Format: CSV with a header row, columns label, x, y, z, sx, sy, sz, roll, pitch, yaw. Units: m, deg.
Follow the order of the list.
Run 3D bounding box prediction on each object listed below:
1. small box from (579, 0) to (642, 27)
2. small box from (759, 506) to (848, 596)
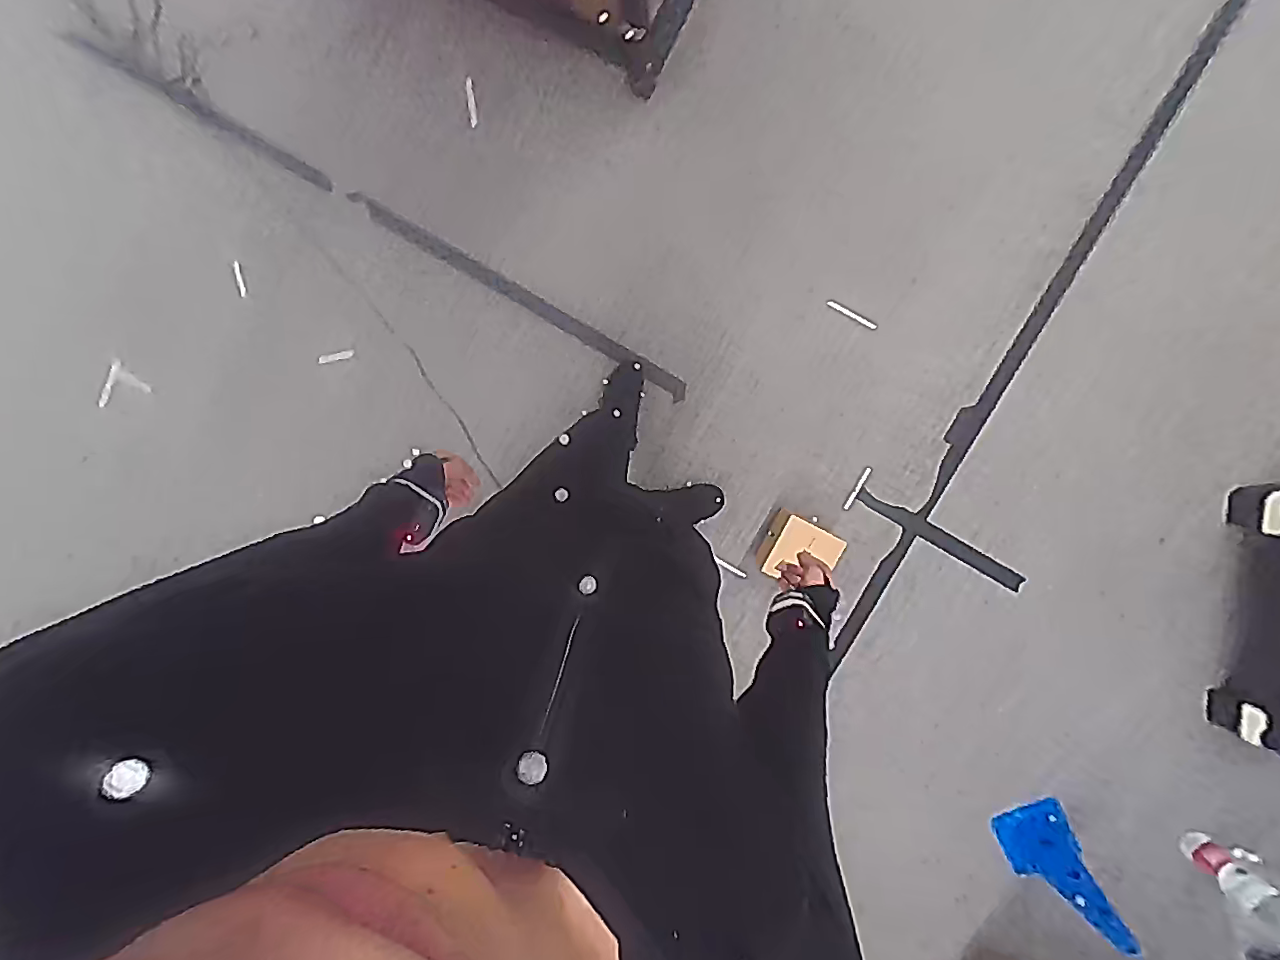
label,x,y,z,sx,sy,sz,roll,pitch,yaw
small box,-0.084,-1.360,1.436,0.168,0.176,0.179,1,94,6
small box,0.447,0.191,1.512,0.168,0.176,0.179,28,97,3
